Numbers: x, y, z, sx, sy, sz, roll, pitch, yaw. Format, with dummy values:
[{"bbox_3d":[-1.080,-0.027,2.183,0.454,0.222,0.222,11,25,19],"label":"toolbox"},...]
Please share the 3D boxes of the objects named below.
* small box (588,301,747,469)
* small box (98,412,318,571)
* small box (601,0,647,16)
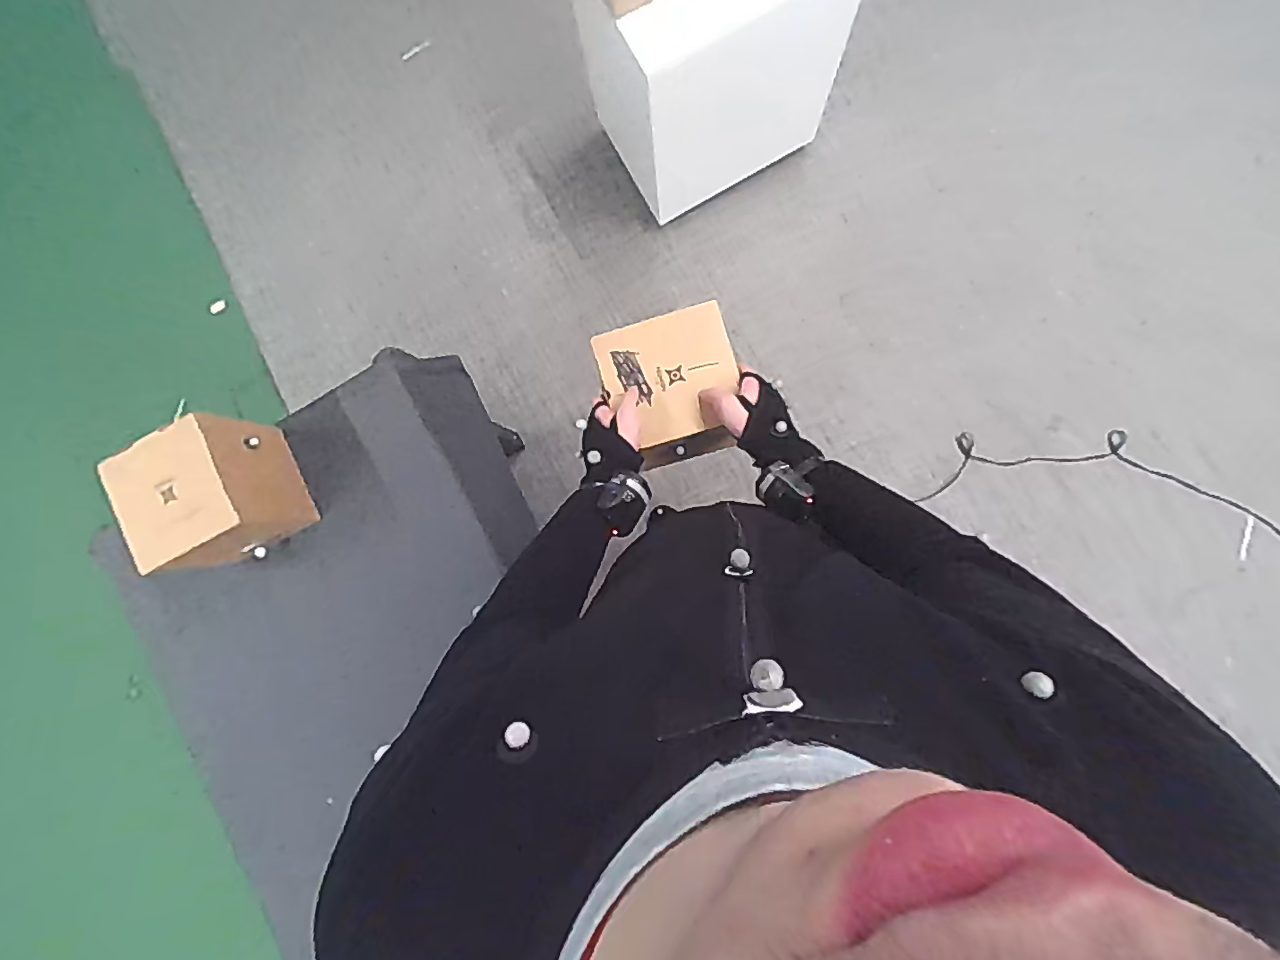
[{"bbox_3d":[0.042,-0.121,0.769,0.179,0.176,0.168,-15,81,4],"label":"small box"},{"bbox_3d":[-0.645,0.020,0.828,0.168,0.176,0.179,-28,86,4],"label":"small box"},{"bbox_3d":[-0.015,-1.001,0.965,0.179,0.176,0.168,-27,85,1],"label":"small box"}]
